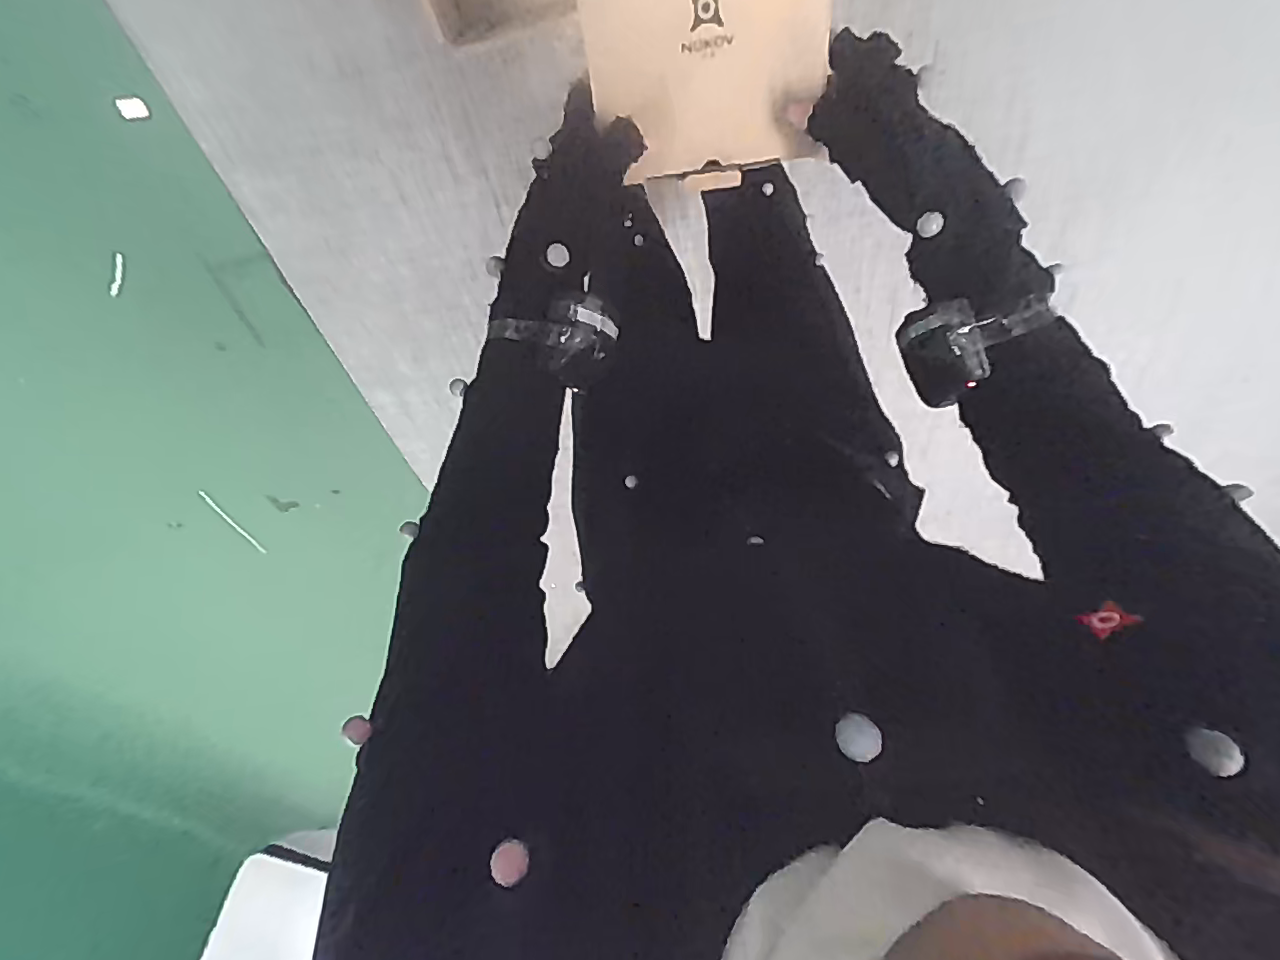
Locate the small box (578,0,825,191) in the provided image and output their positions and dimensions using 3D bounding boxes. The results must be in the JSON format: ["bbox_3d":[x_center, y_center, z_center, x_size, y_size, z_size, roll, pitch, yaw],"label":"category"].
[{"bbox_3d":[0.043,-0.354,0.431,0.168,0.176,0.179,-7,129,4],"label":"small box"}]
